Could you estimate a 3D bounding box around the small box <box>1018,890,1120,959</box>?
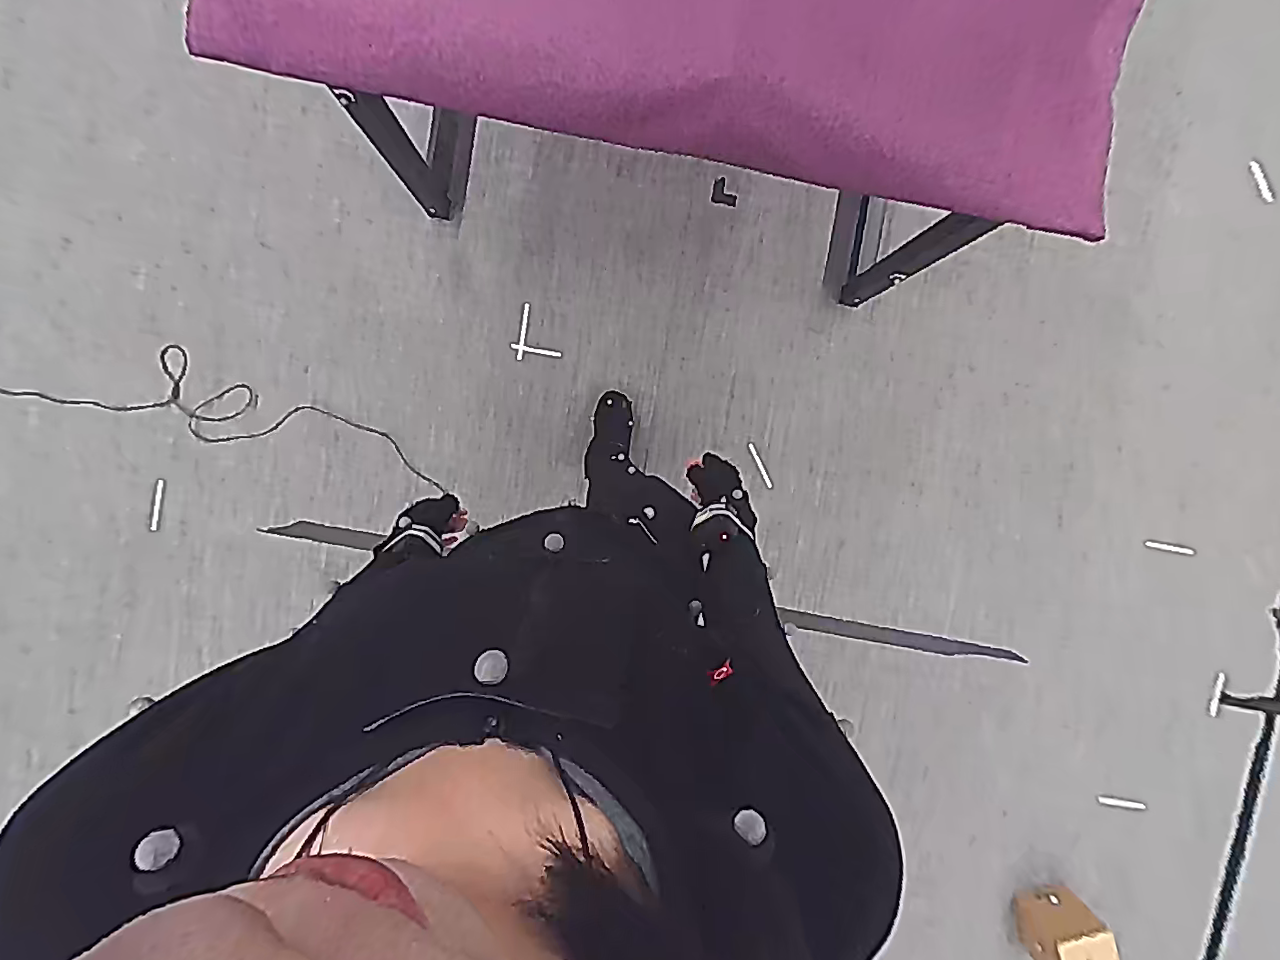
[{"bbox_3d":[1.252,1.358,1.580,0.168,0.176,0.179,-12,93,-3],"label":"small box"}]
